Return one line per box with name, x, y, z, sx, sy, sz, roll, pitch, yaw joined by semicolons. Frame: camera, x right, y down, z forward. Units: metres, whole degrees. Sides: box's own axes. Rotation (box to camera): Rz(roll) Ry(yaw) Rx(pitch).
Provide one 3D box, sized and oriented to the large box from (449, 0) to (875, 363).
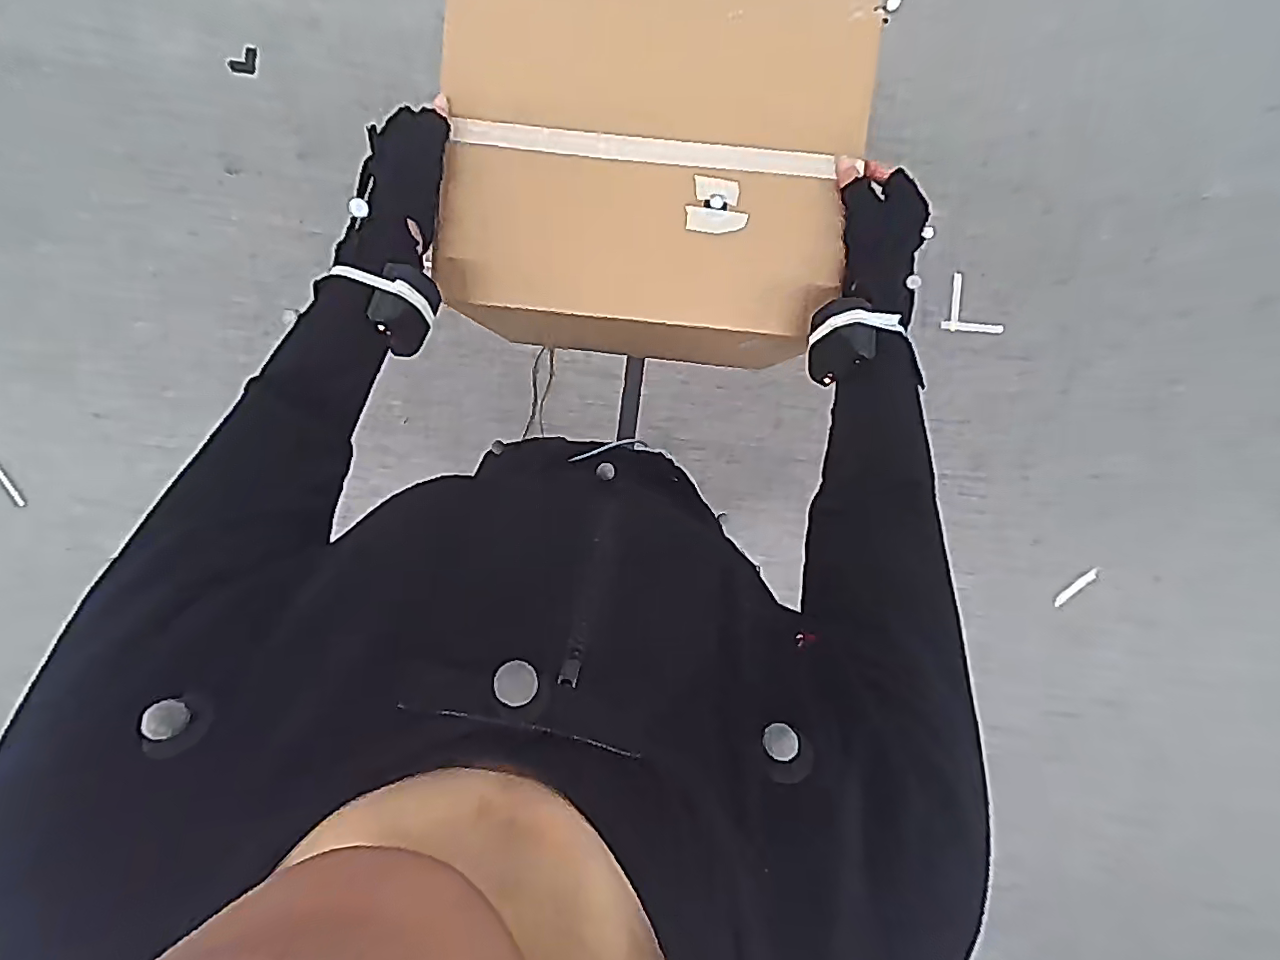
large box;0.014;-0.331;0.675;0.408;0.320;0.320;5;97;-1
